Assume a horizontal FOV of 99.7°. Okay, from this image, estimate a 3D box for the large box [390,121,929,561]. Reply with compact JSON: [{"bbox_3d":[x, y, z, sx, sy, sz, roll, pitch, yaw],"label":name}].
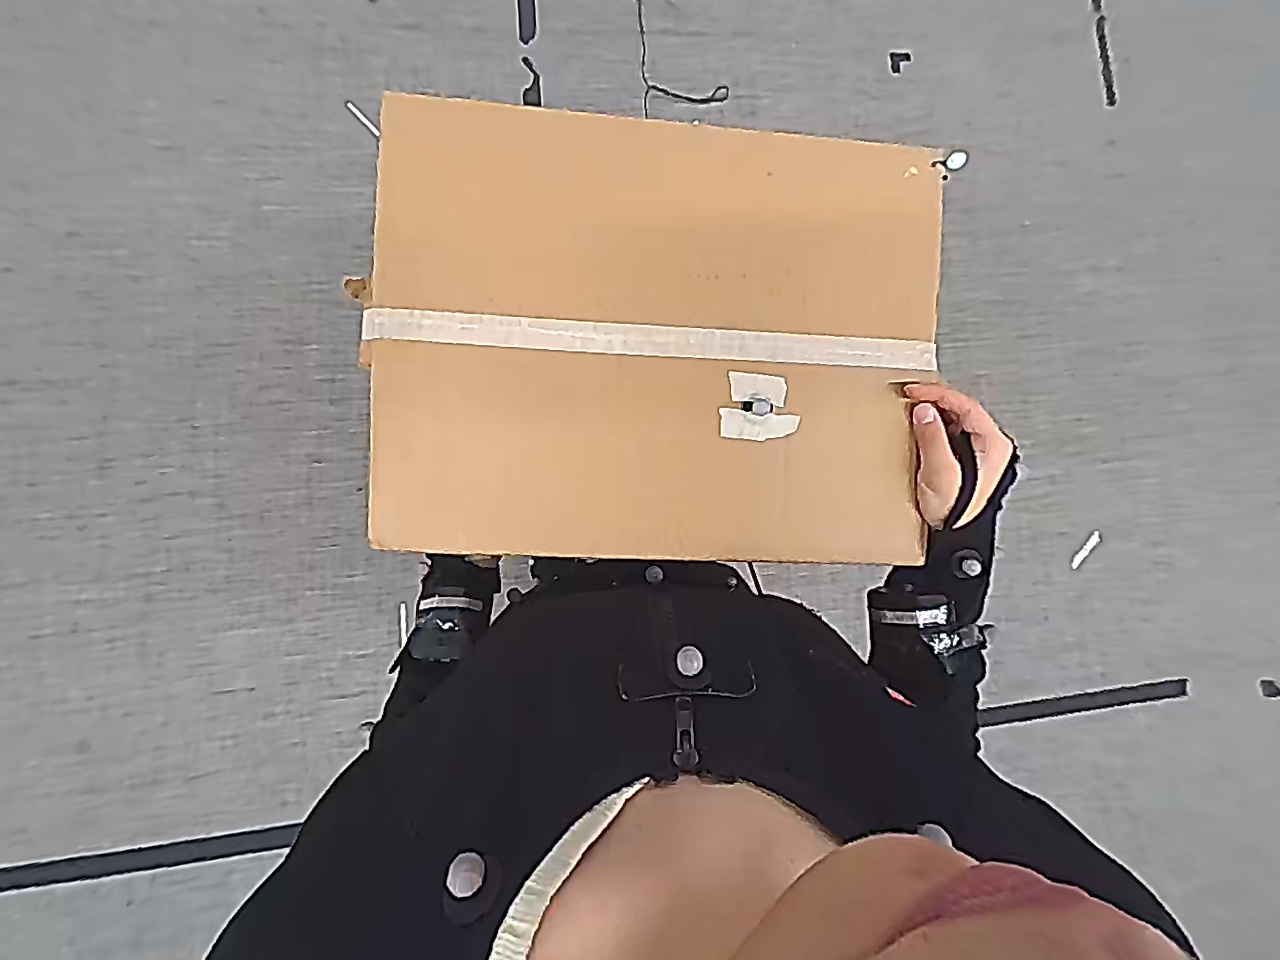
[{"bbox_3d":[0.005,-0.097,0.546,0.408,0.320,0.320,2,91,-6],"label":"large box"}]
